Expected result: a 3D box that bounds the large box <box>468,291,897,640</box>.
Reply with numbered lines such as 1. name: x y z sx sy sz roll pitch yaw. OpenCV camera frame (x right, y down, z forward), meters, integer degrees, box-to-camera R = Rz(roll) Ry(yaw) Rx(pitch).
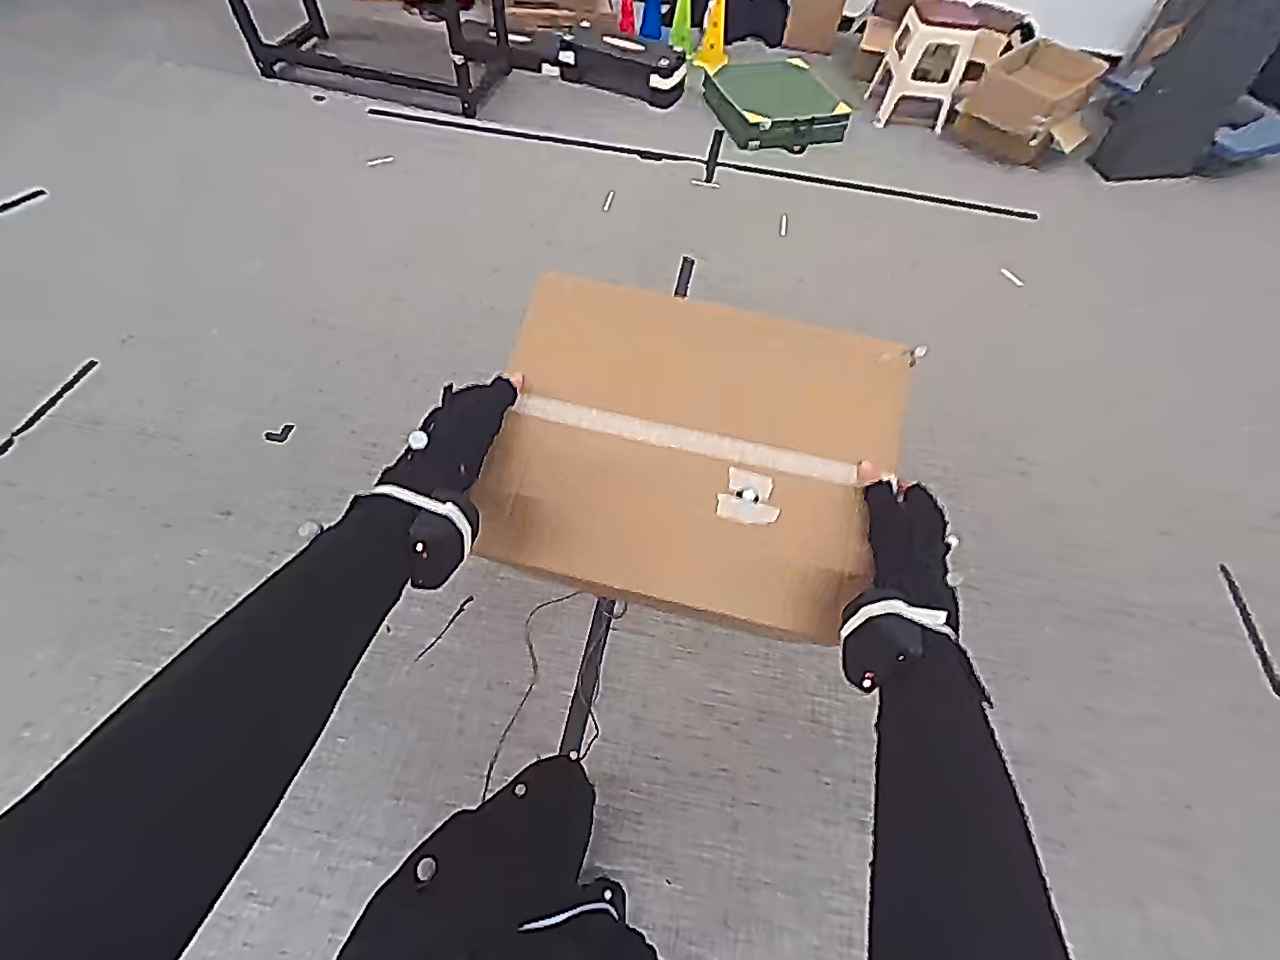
1. large box: 0.052 0.007 0.702 0.408 0.320 0.320 13 77 4
